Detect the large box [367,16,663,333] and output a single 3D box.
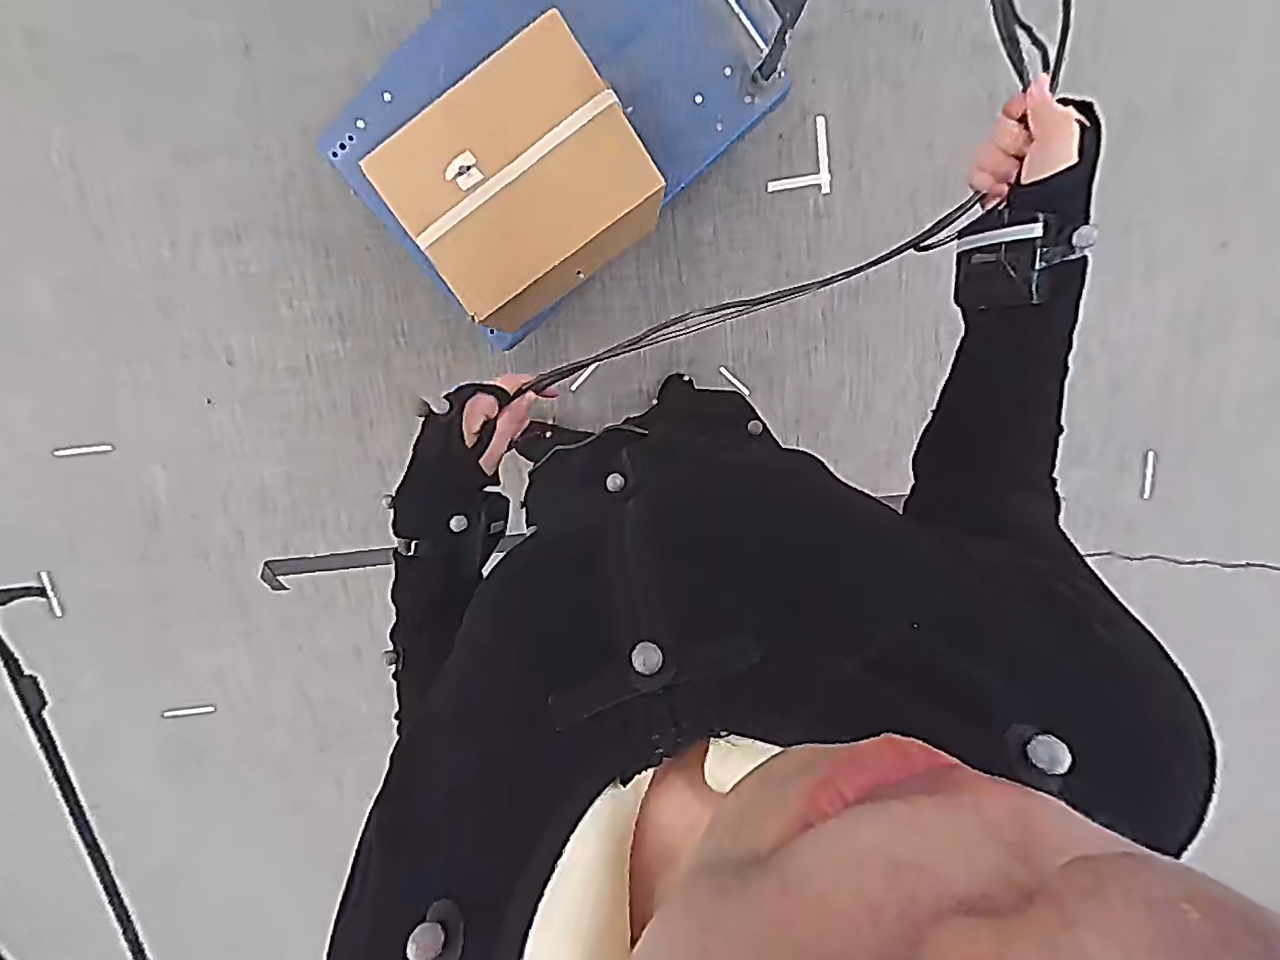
[{"bbox_3d":[-0.208,-0.531,1.040,0.408,0.320,0.320,-34,100,6],"label":"large box"}]
